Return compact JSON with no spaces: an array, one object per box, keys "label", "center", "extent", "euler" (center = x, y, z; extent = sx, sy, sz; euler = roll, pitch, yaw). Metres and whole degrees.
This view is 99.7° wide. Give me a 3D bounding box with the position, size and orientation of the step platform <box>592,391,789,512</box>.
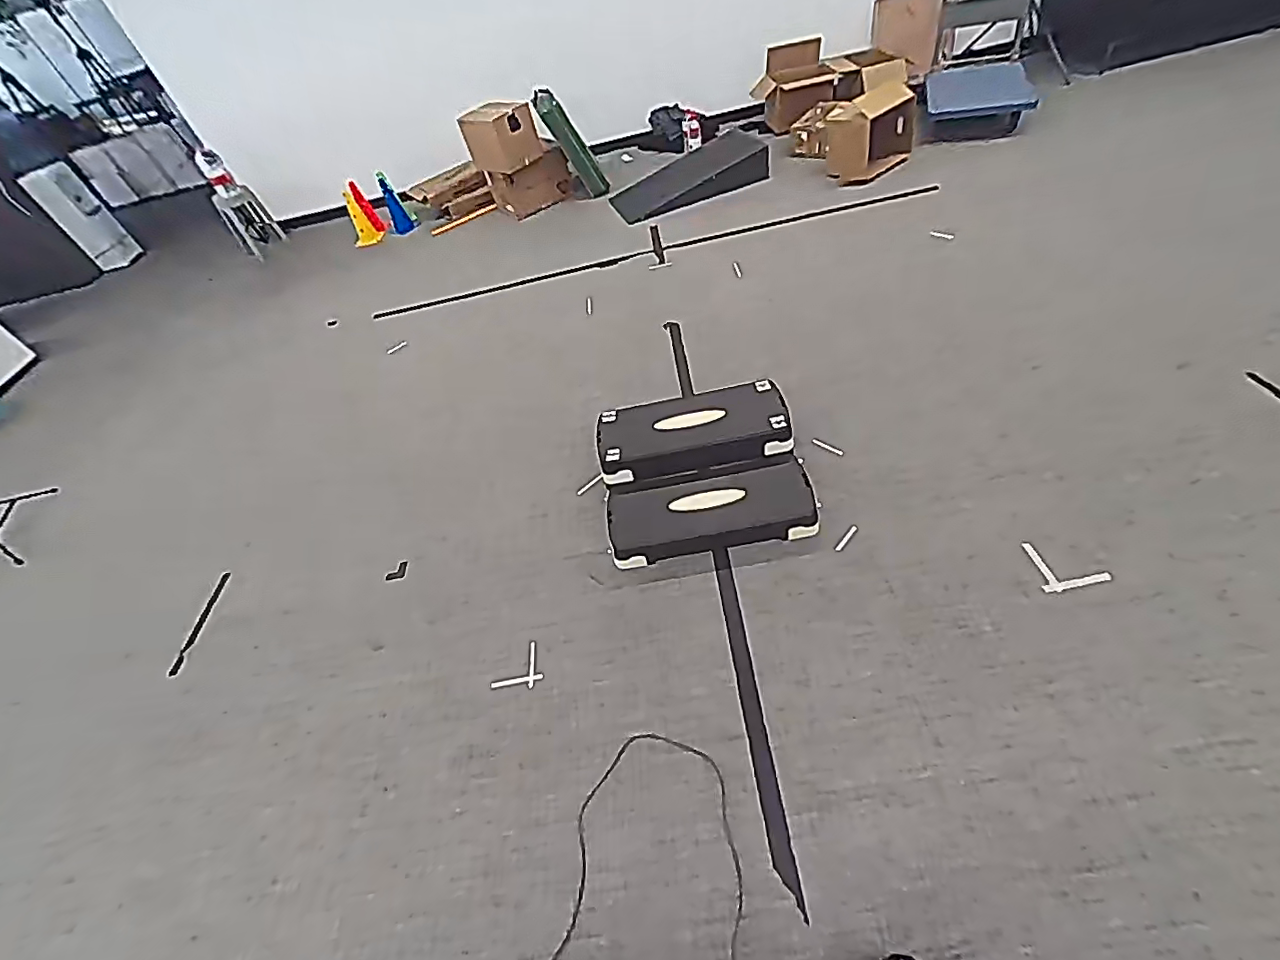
[{"label":"step platform","center":[0.172,-0.105,1.929],"extent":[0.684,0.204,0.286],"euler":[-11,47,3]}]
